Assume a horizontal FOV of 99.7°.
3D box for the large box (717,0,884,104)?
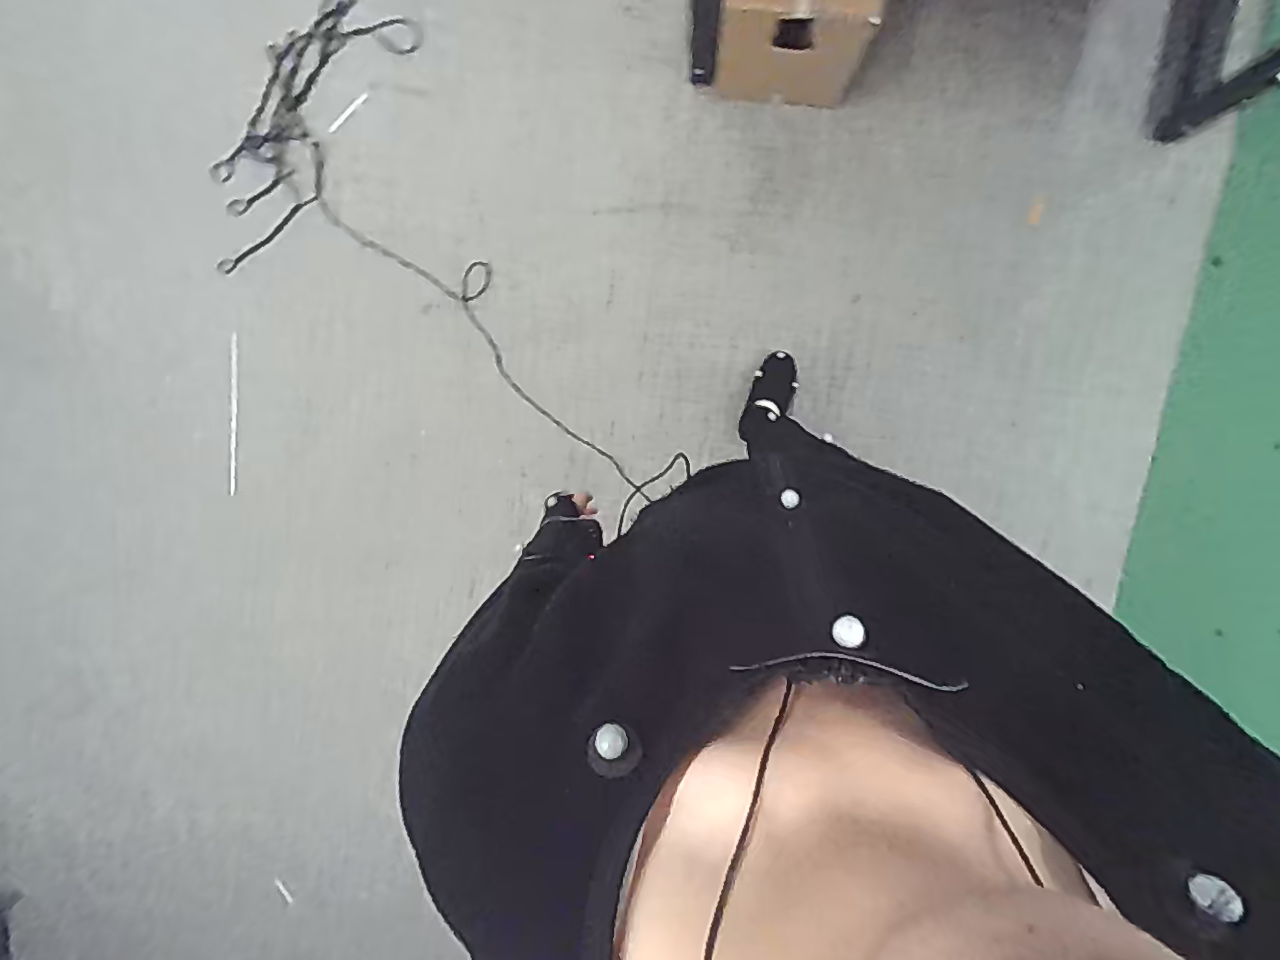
[{"bbox_3d":[0.352,-1.129,1.182,0.320,0.320,0.408,8,99,5],"label":"large box"}]
